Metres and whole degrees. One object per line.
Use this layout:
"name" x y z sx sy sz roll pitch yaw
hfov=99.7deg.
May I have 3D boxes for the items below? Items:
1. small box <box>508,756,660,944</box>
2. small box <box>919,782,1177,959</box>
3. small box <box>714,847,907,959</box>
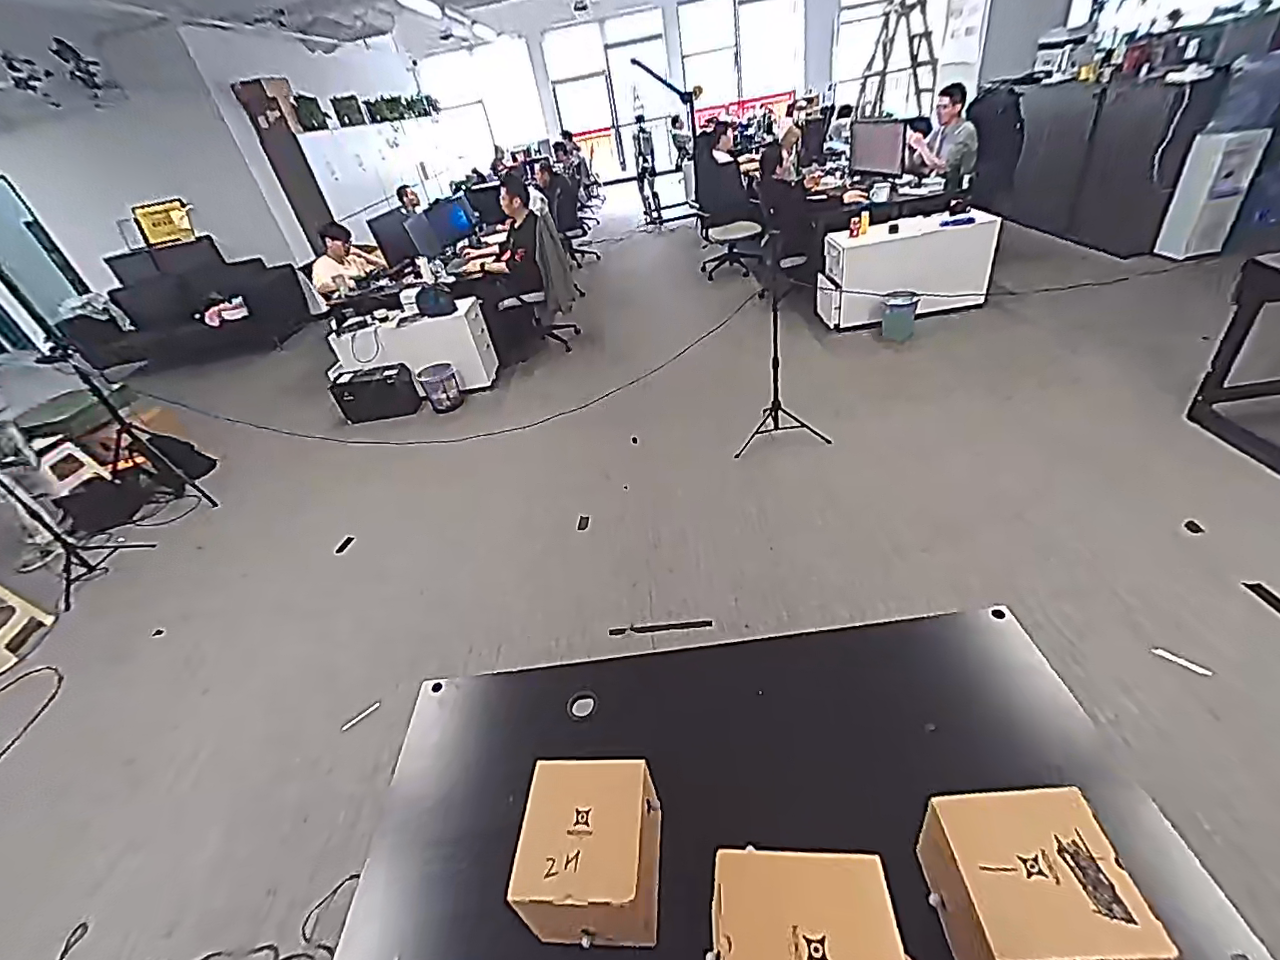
"small box" -0.066 0.523 0.771 0.168 0.176 0.179 -6 36 9
"small box" 0.464 0.494 0.654 0.179 0.176 0.168 -9 35 7
"small box" 0.170 0.510 0.564 0.179 0.176 0.168 -2 36 5
